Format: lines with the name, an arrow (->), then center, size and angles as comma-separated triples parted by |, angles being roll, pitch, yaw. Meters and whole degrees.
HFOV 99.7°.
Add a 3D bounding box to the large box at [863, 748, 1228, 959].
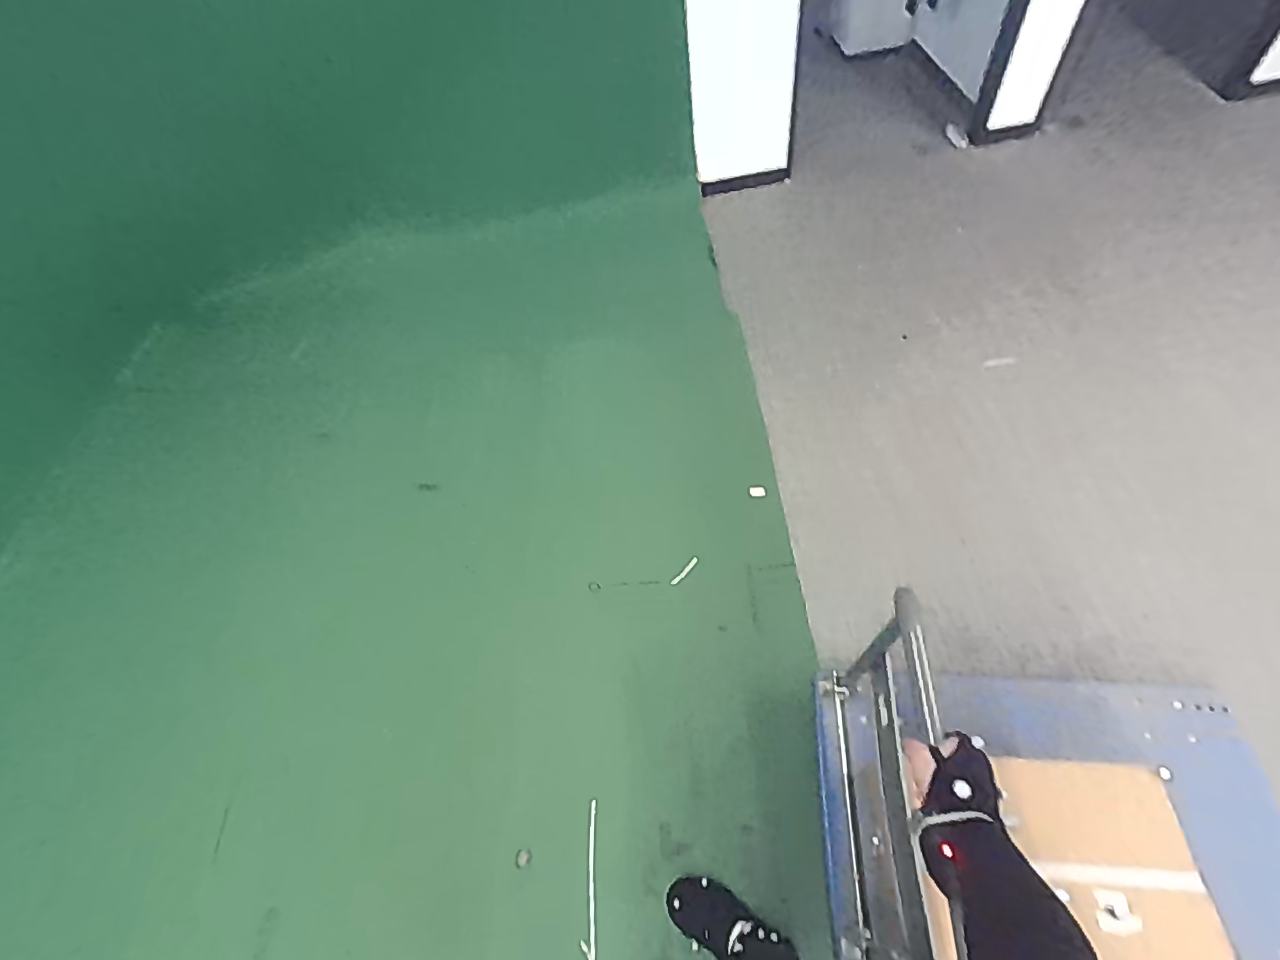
large box -> 0.663, 0.683, 0.972 | 0.408, 0.320, 0.320 | -1, 57, 8
